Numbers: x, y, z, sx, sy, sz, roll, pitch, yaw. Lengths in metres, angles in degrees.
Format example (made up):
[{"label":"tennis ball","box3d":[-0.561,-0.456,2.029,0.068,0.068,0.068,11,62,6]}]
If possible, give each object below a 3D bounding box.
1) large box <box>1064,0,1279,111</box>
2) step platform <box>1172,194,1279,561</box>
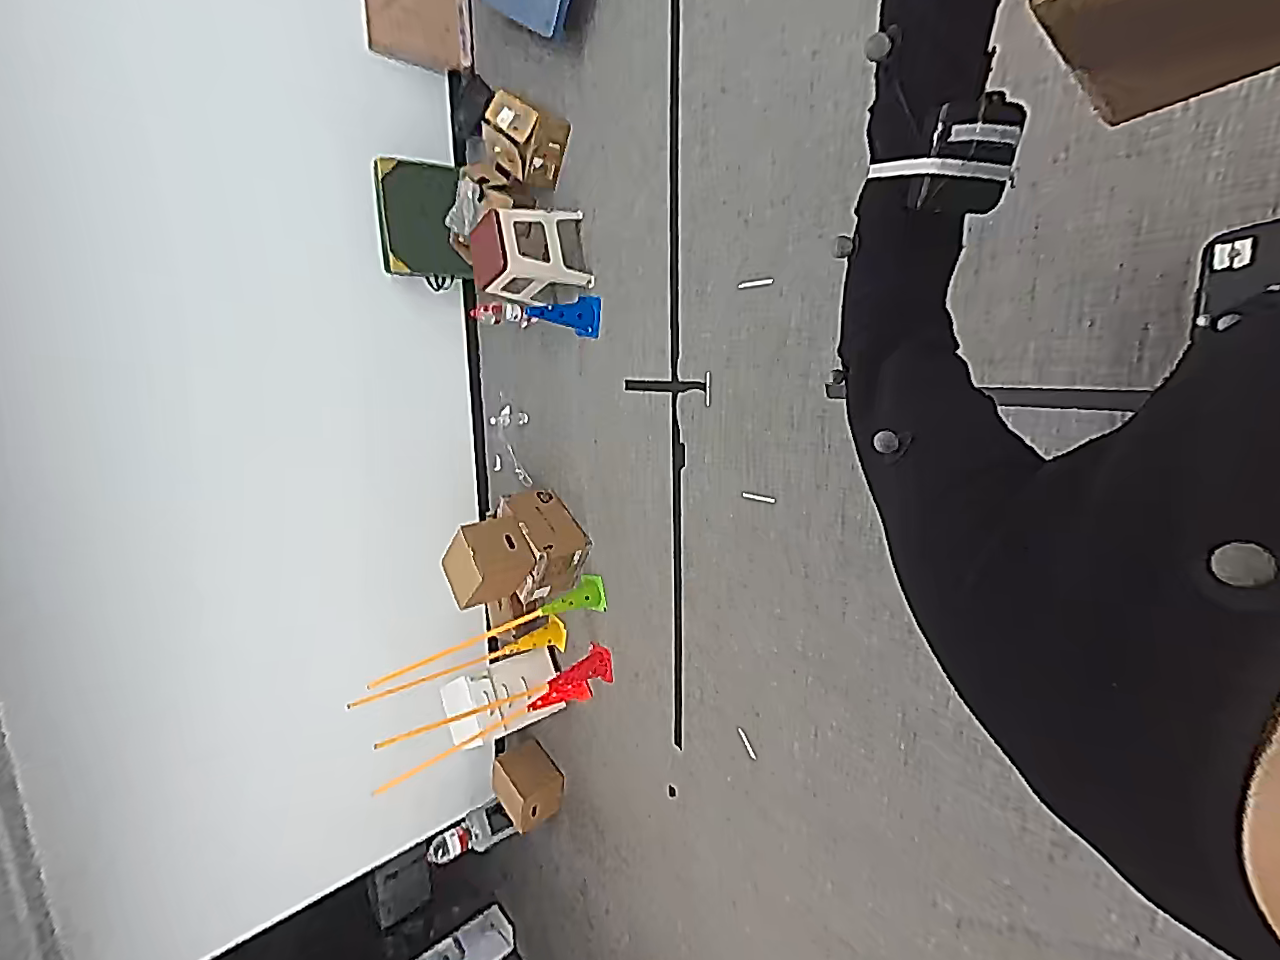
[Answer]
[{"label":"large box","box3d":[0.449,-0.463,0.246,0.408,0.320,0.320,-1,102,47]},{"label":"step platform","box3d":[1.233,-0.186,1.015,0.286,0.204,0.684,8,102,48]}]
